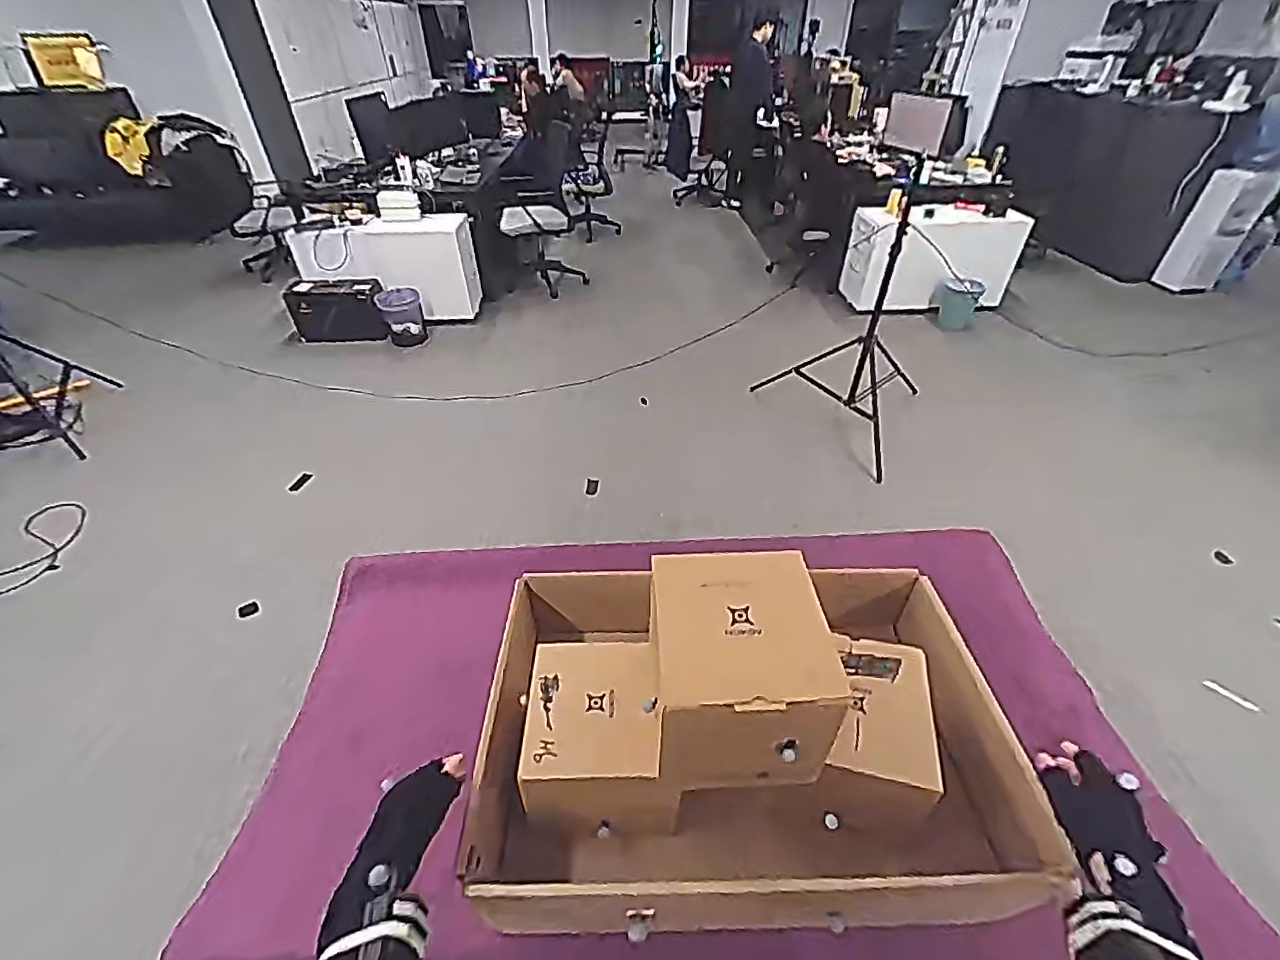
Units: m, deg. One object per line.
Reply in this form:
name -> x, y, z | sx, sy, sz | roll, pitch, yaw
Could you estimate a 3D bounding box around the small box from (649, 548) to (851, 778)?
small box -> 0.096, 0.193, 0.566 | 0.168, 0.176, 0.179 | -1, 38, -3
